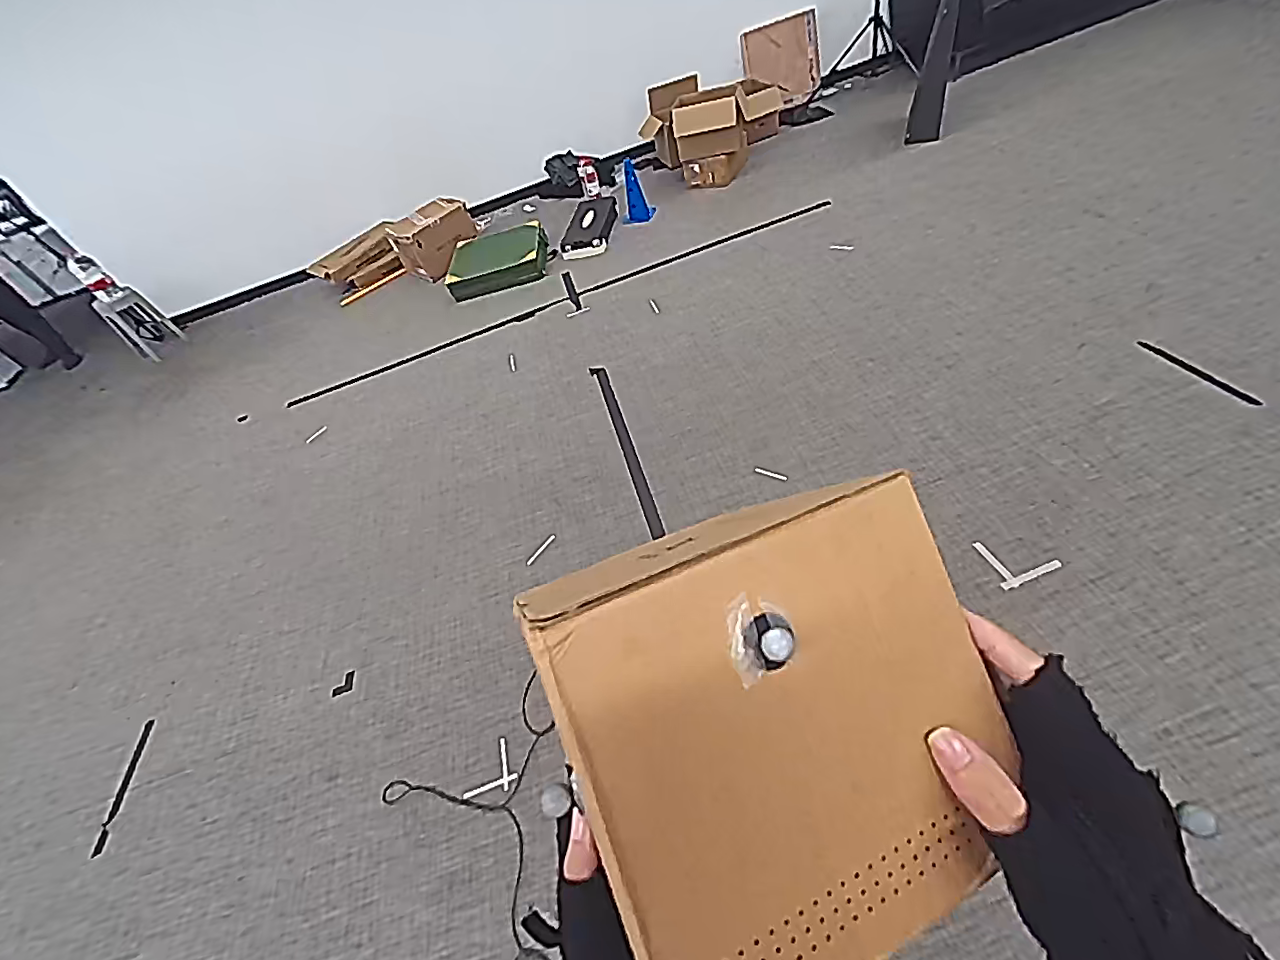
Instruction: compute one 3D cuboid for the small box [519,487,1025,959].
[{"bbox_3d":[0.049,0.120,0.284,0.179,0.168,0.176,-19,87,-16],"label":"small box"}]
